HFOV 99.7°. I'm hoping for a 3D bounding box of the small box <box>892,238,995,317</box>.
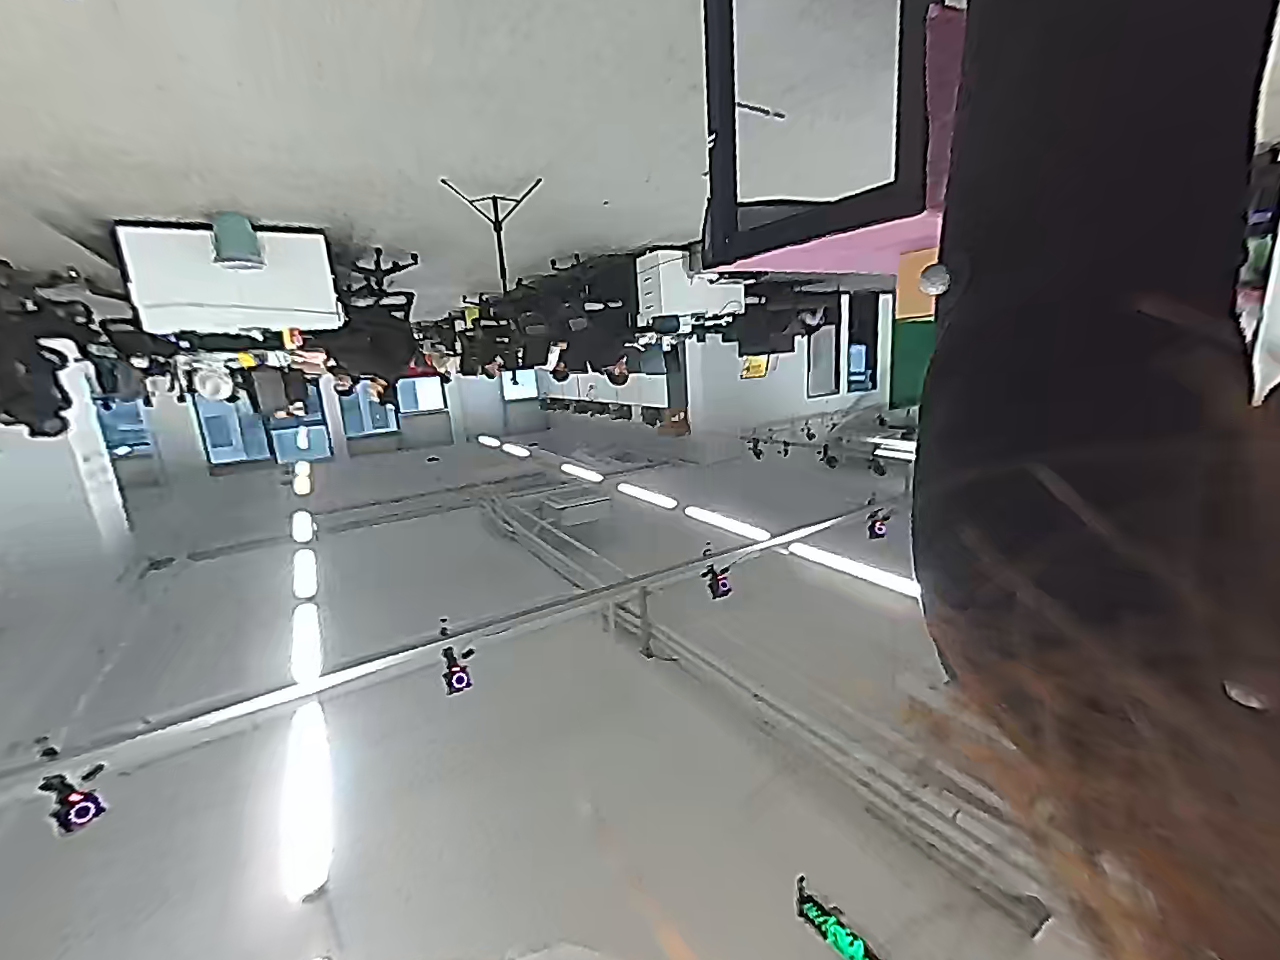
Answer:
[{"bbox_3d":[0.788,-0.520,1.406,0.168,0.176,0.179,-11,-166,-25],"label":"small box"}]
